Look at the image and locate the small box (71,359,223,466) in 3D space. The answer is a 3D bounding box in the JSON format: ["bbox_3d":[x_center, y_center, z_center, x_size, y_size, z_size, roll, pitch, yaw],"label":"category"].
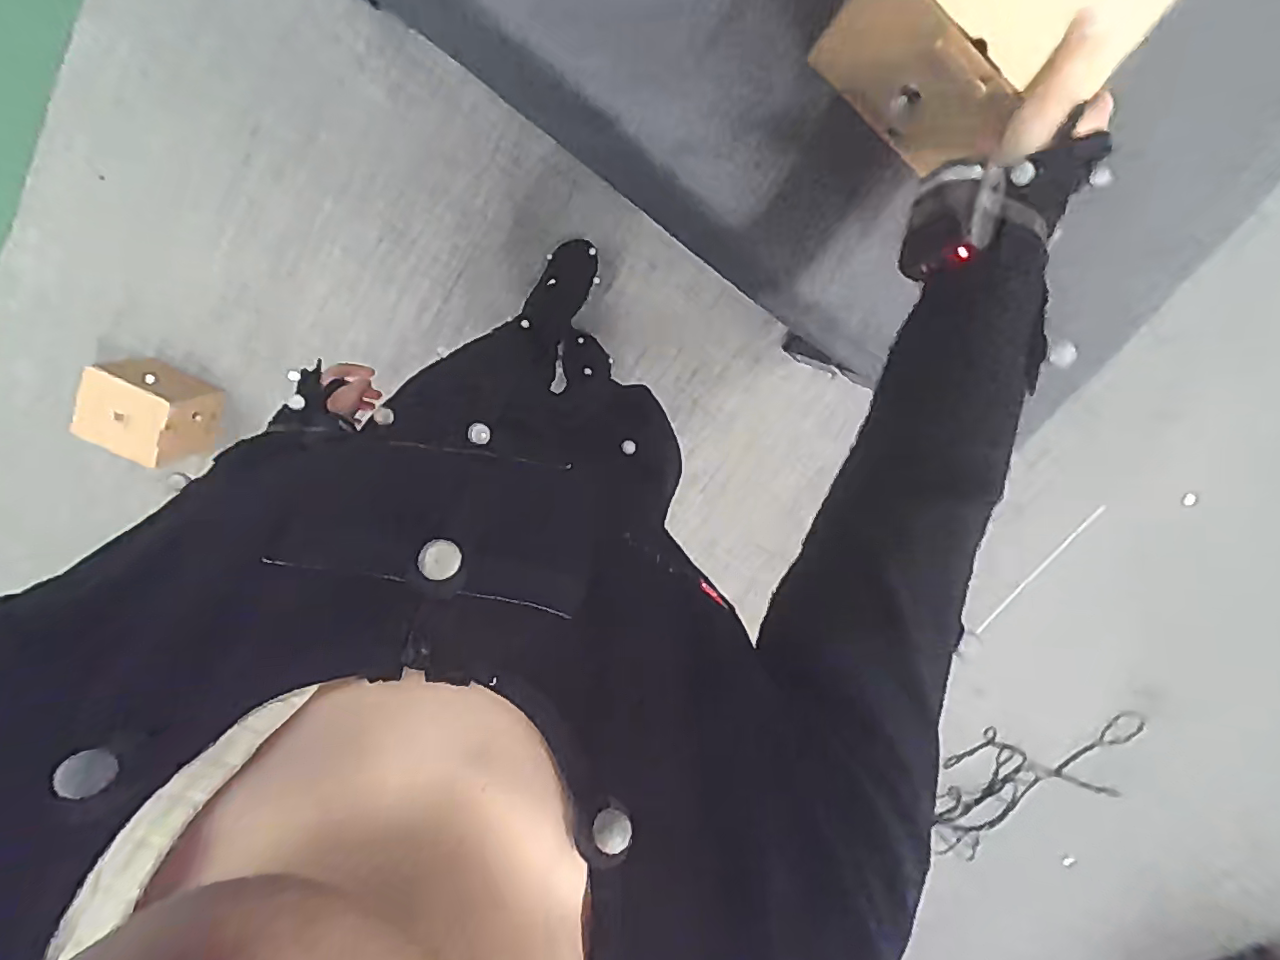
[{"bbox_3d":[-1.091,-0.159,1.211,0.179,0.176,0.168,27,105,-10],"label":"small box"}]

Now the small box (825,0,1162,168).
[{"bbox_3d":[0.268,-0.378,0.413,0.168,0.176,0.179,35,105,-13],"label":"small box"}]
